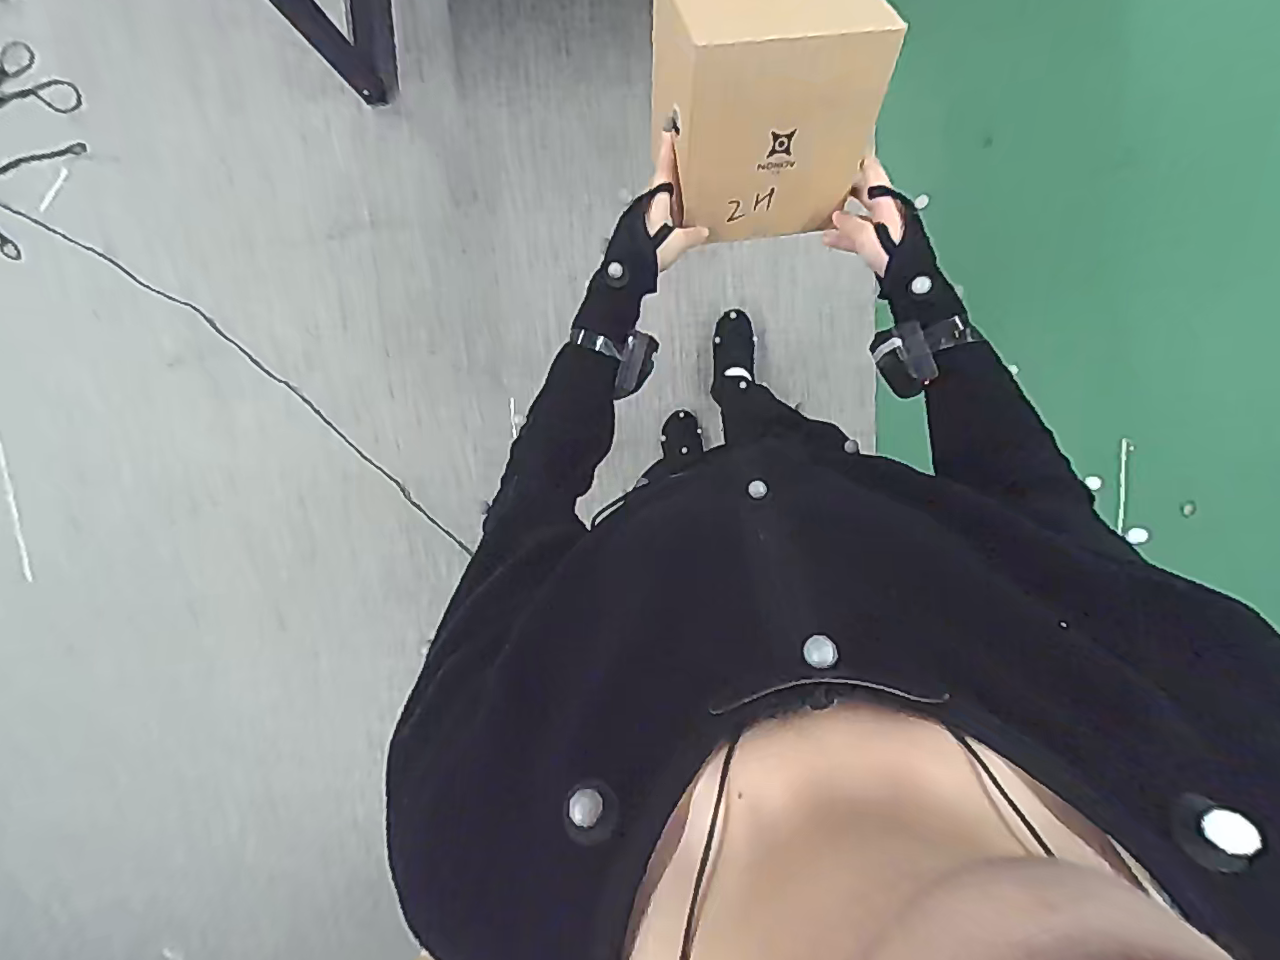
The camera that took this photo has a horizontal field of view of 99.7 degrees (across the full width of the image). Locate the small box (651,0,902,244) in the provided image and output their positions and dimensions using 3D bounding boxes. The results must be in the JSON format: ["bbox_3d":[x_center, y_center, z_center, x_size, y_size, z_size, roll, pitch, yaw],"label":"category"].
[{"bbox_3d":[0.104,-0.358,0.510,0.168,0.179,0.176,-8,61,-4],"label":"small box"}]
